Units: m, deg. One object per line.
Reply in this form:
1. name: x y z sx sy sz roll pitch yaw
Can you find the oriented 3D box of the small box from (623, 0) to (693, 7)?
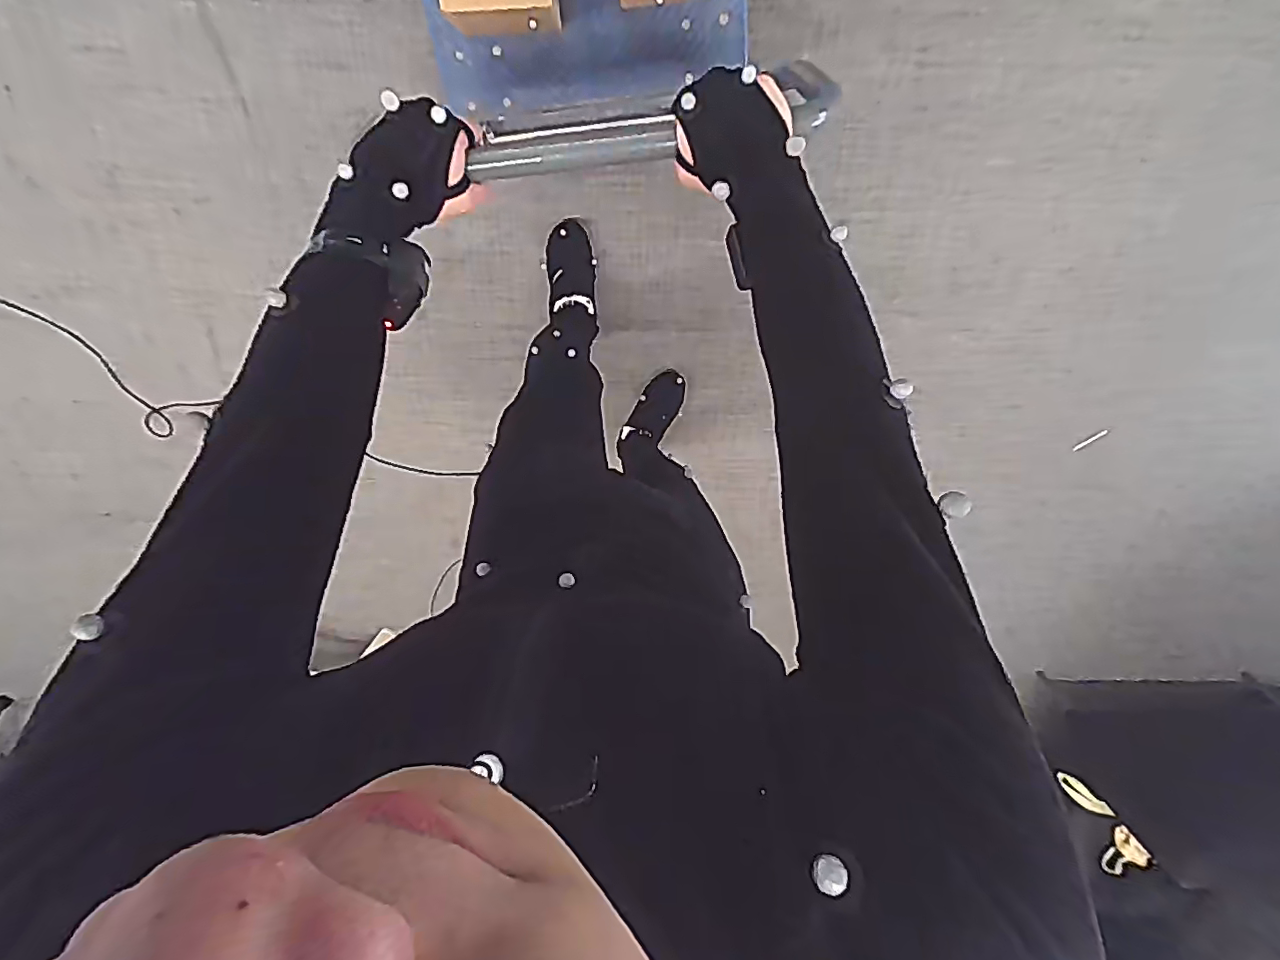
1. small box: 0.037 -0.903 0.869 0.168 0.176 0.179 -5 120 2
